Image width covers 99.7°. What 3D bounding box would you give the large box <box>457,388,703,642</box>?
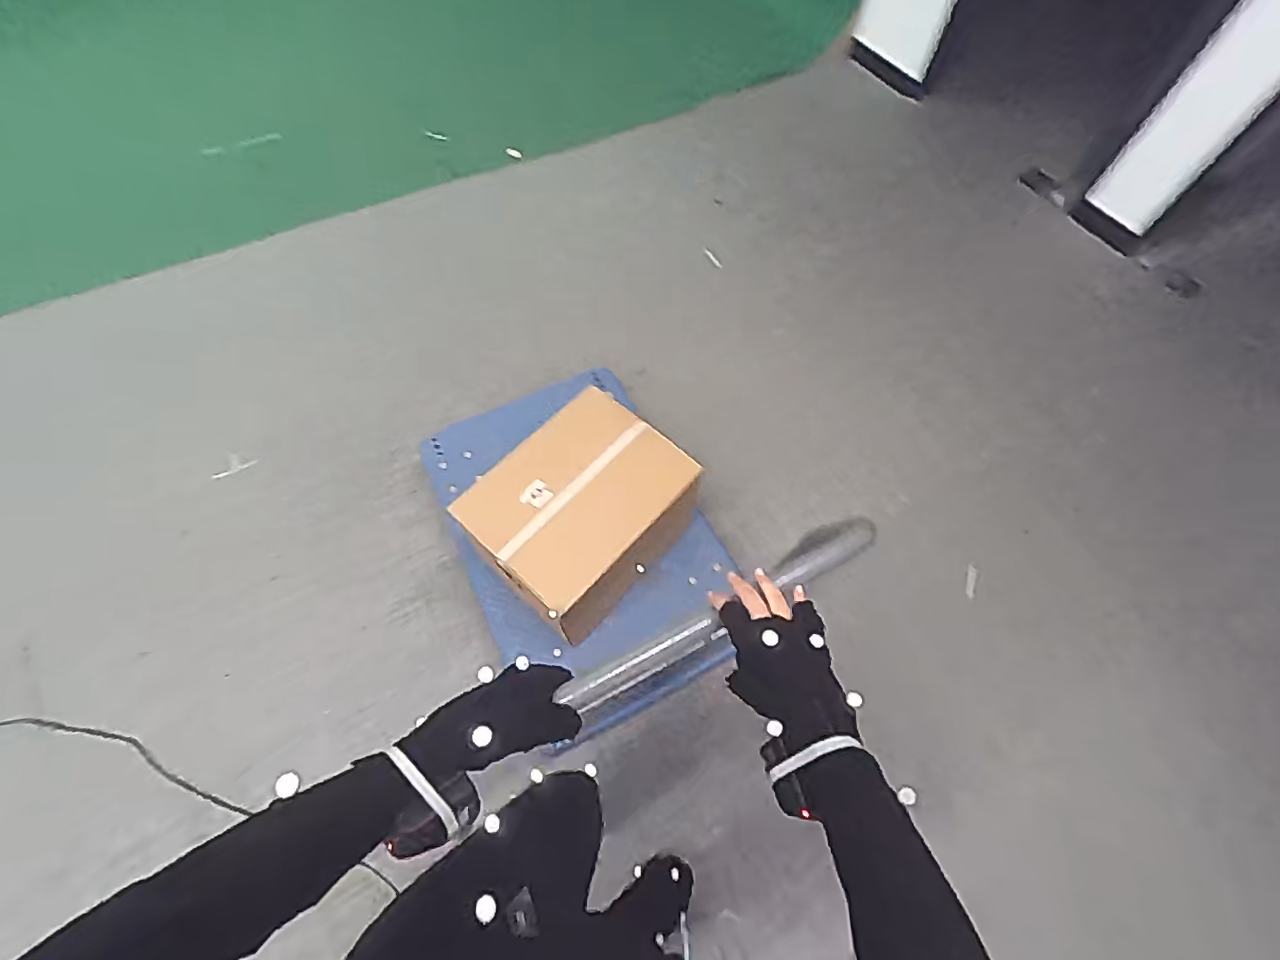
[{"bbox_3d":[-0.115,0.084,1.197,0.320,0.320,0.408,40,69,17],"label":"large box"}]
